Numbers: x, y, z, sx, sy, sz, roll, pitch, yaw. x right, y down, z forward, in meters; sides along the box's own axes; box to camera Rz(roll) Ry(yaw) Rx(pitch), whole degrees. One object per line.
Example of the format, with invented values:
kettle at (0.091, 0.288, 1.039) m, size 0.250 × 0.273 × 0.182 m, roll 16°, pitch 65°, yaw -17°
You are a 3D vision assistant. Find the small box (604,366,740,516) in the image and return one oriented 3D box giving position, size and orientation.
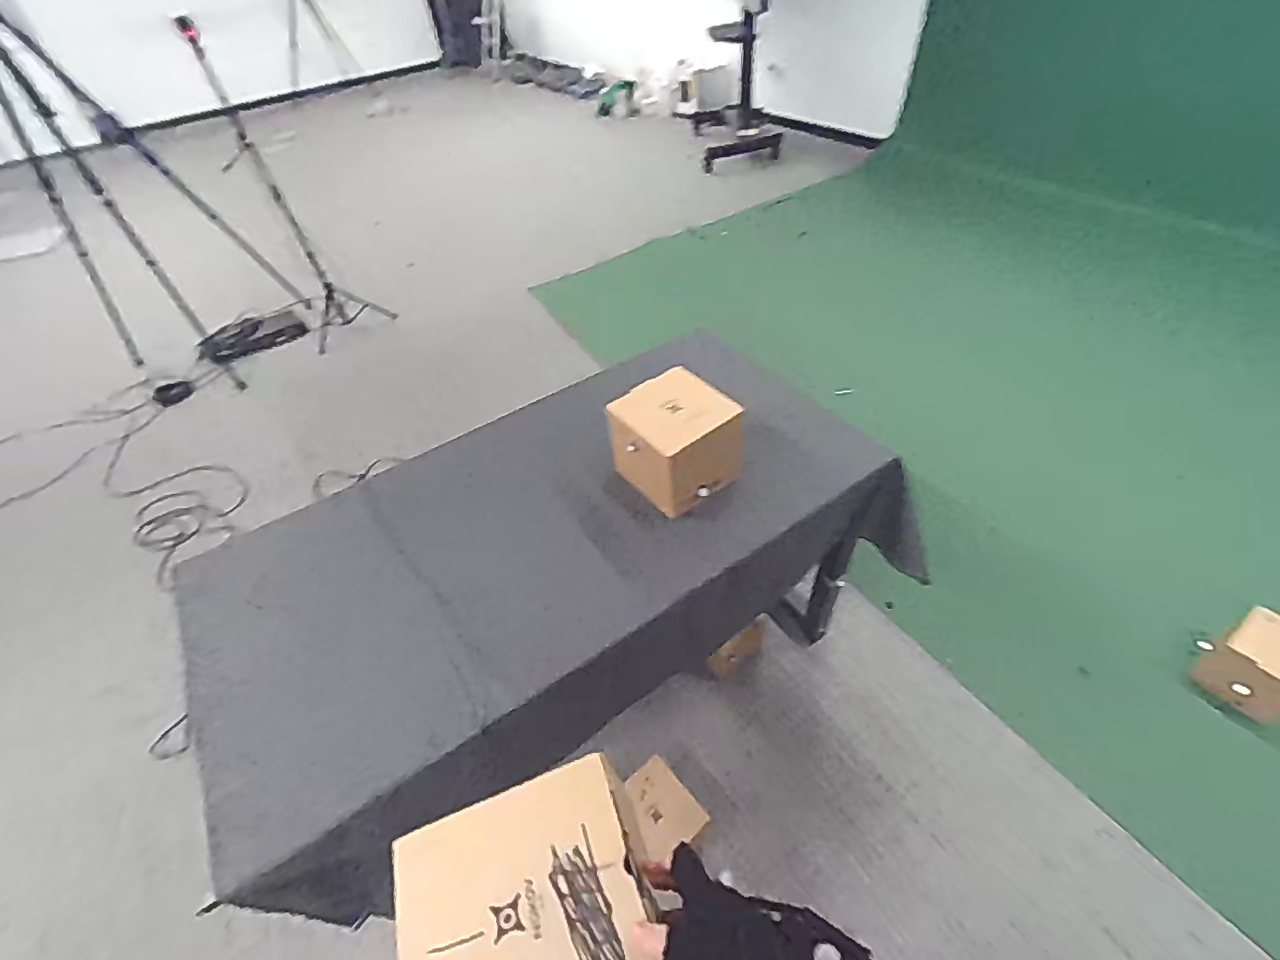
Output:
small box at (0.058, -0.069, 0.968) m, size 0.168 × 0.176 × 0.179 m, roll -32°, pitch 52°, yaw -20°

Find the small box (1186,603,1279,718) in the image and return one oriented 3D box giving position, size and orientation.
small box at (1.502, 0.442, 1.316) m, size 0.179 × 0.176 × 0.168 m, roll -31°, pitch 51°, yaw -19°

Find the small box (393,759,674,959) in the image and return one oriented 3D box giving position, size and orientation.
small box at (-0.075, 0.360, 0.438) m, size 0.179 × 0.176 × 0.168 m, roll -19°, pitch 48°, yaw -7°
